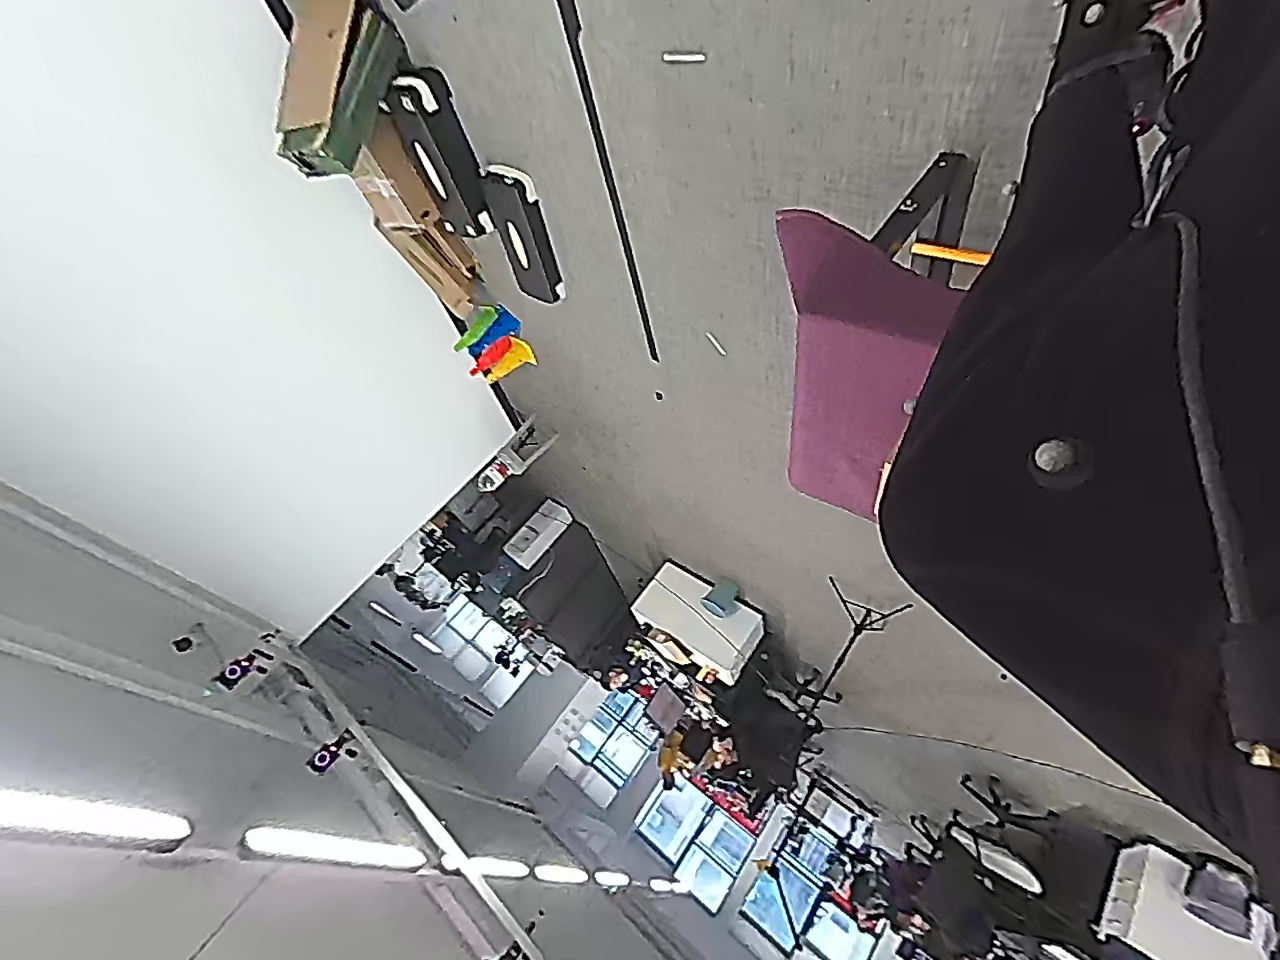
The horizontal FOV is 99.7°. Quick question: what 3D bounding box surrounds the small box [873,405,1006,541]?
[{"bbox_3d":[0.584,-0.019,1.059,0.168,0.176,0.179,27,155,30],"label":"small box"}]
